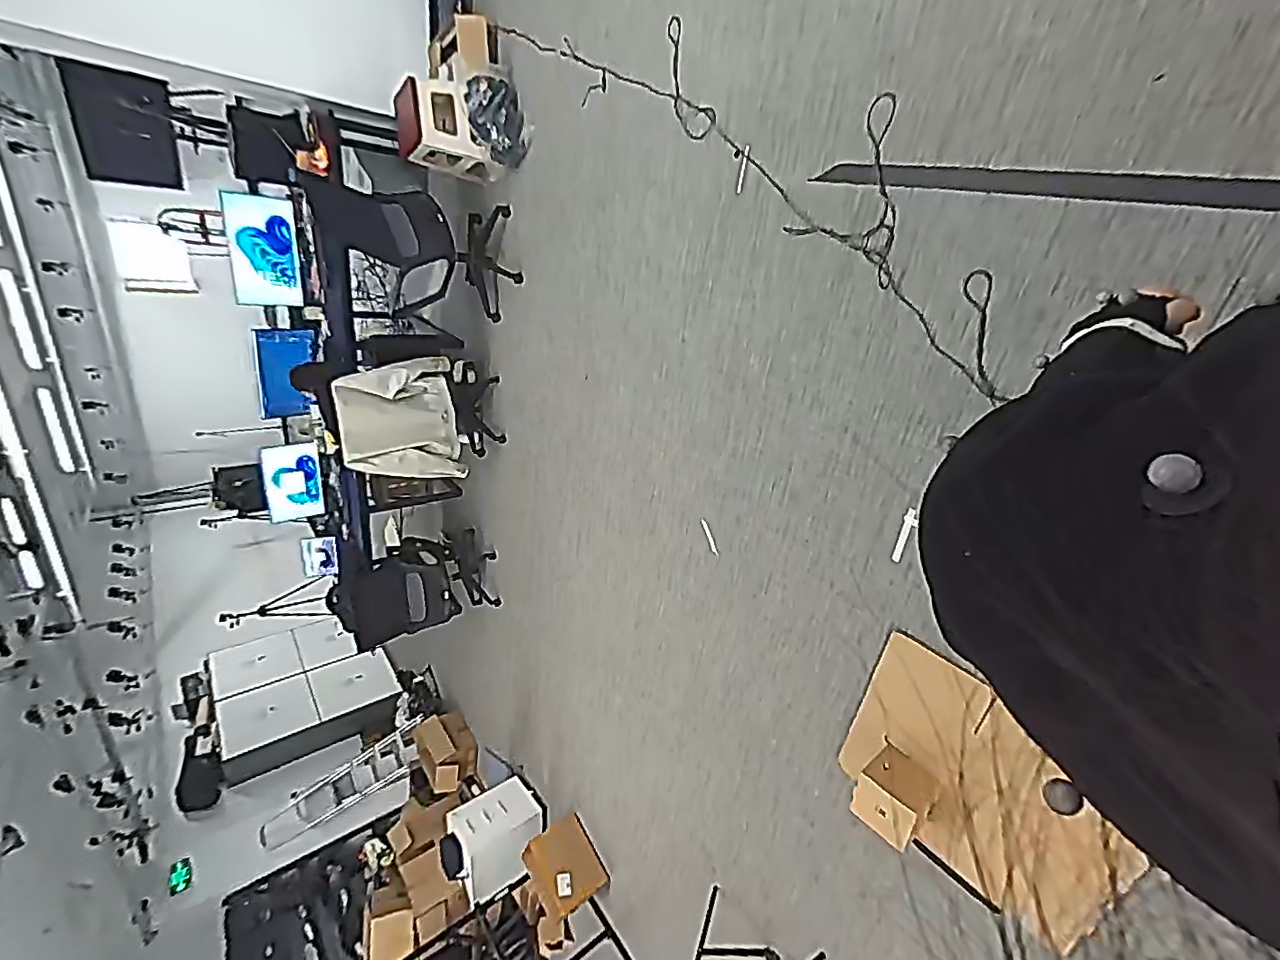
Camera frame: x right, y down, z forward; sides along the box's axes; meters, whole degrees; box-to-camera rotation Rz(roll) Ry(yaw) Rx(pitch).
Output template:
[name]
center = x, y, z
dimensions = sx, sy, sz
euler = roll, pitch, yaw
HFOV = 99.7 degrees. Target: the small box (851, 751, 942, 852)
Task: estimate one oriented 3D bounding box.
[small box]
center = 0.773, 0.955, 1.632
dimensions = 0.179, 0.176, 0.168
euler = 26, 120, 44
